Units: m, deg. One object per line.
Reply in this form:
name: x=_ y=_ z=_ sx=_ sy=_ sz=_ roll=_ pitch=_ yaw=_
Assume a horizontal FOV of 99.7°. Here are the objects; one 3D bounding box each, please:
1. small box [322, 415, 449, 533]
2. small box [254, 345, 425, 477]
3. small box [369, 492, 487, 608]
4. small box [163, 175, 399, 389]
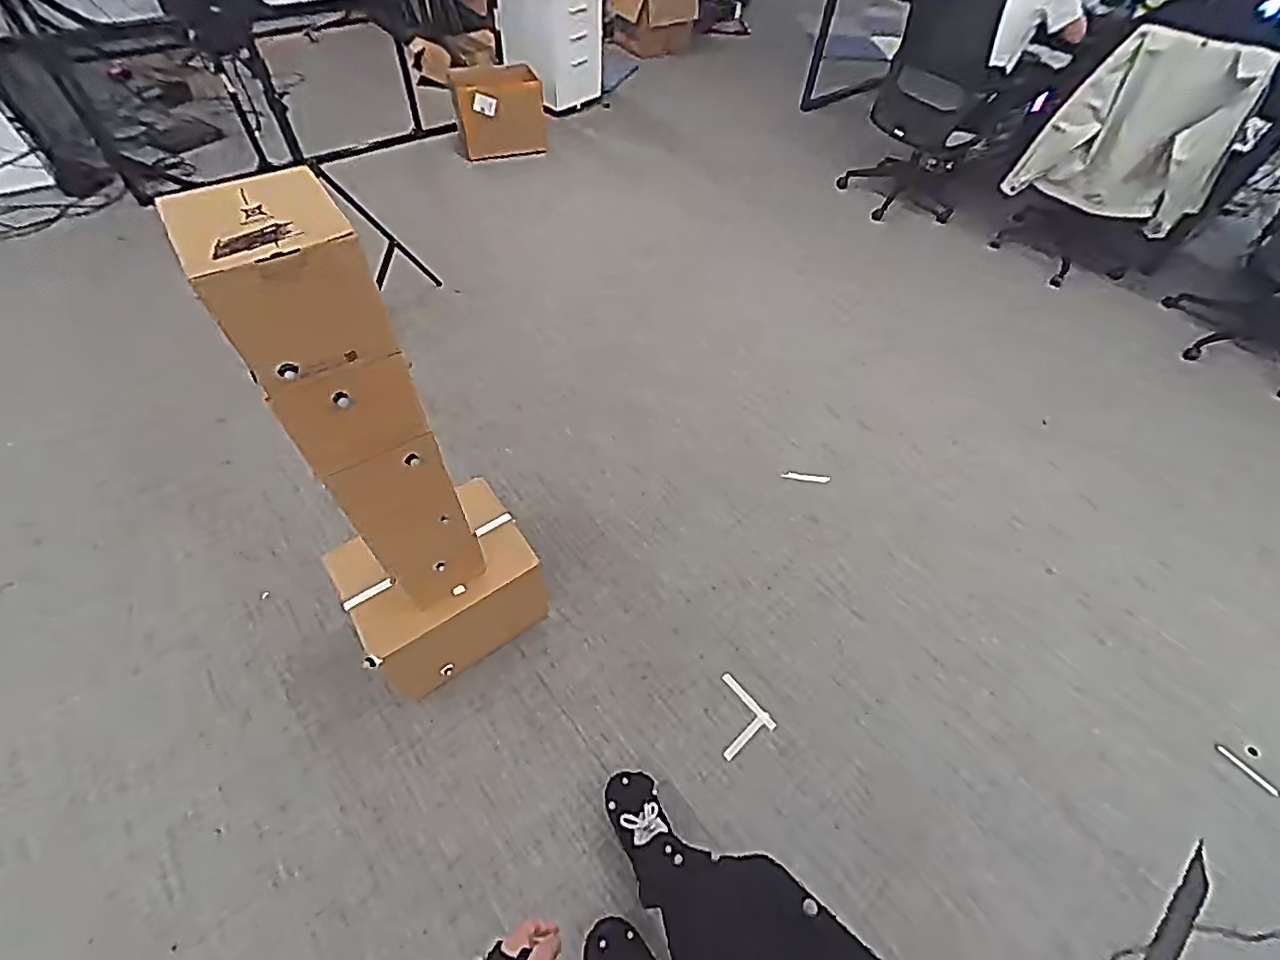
small box: x=-0.445 y=-0.042 z=0.926 sx=0.179 sy=0.176 sz=0.168 roll=-29 pitch=61 yaw=-23
small box: x=-0.436 y=-0.137 z=0.795 sx=0.179 sy=0.176 sz=0.168 roll=-29 pitch=62 yaw=-22
small box: x=-0.462 y=0.151 z=1.192 sx=0.179 sy=0.176 sz=0.168 roll=-32 pitch=63 yaw=-25
small box: x=-0.424 y=-0.234 z=0.664 sx=0.168 sy=0.176 sz=0.179 roll=-29 pitch=61 yaw=-22
